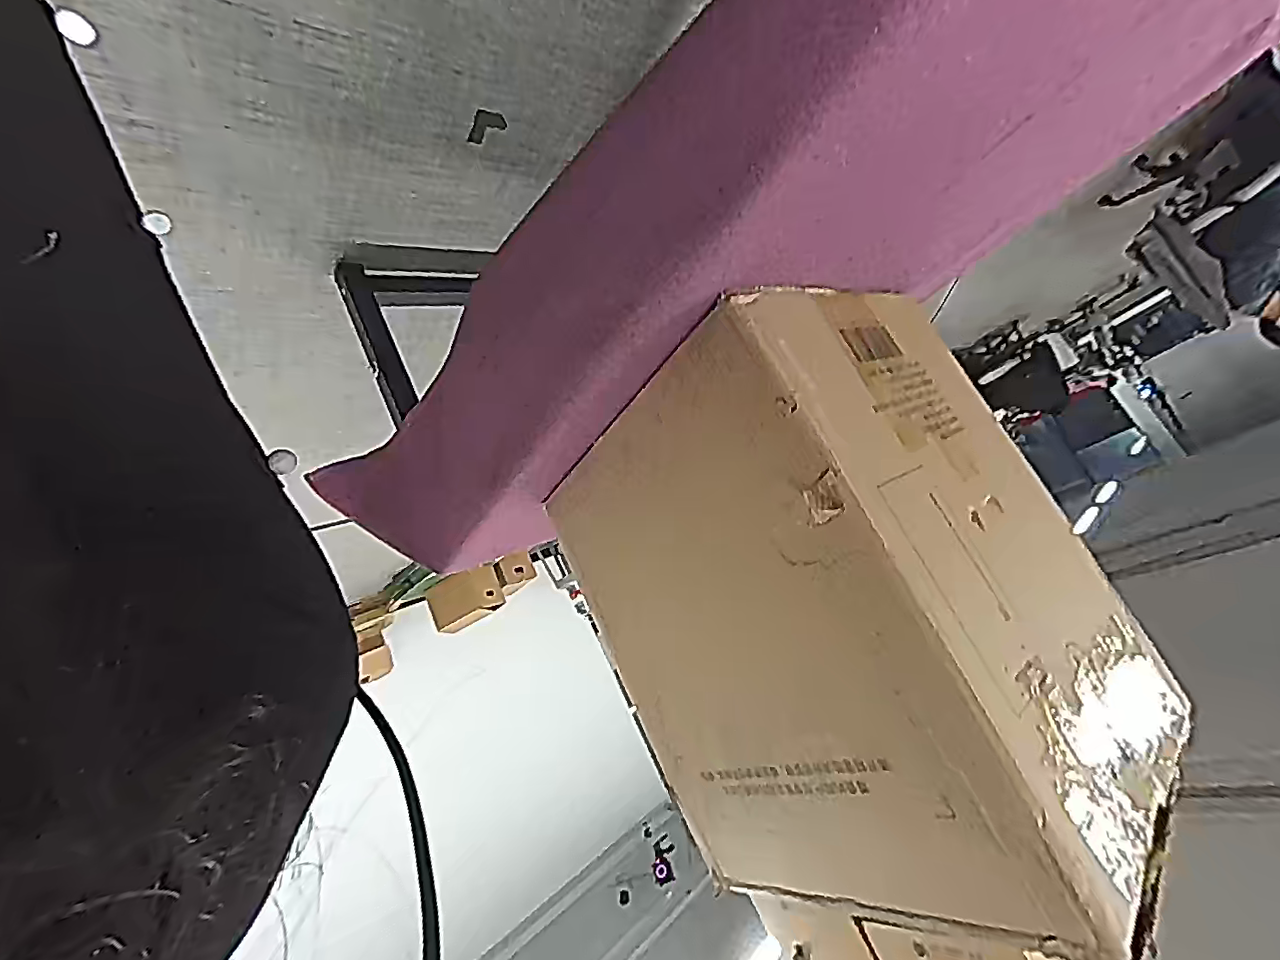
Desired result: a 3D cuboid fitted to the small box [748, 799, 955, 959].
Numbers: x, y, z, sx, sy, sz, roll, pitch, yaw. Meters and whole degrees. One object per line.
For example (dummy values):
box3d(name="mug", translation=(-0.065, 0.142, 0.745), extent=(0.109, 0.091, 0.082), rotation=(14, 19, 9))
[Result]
box3d(name="small box", translation=(0.280, 0.571, 0.733), extent=(0.179, 0.176, 0.168), rotation=(-16, 163, -44))
